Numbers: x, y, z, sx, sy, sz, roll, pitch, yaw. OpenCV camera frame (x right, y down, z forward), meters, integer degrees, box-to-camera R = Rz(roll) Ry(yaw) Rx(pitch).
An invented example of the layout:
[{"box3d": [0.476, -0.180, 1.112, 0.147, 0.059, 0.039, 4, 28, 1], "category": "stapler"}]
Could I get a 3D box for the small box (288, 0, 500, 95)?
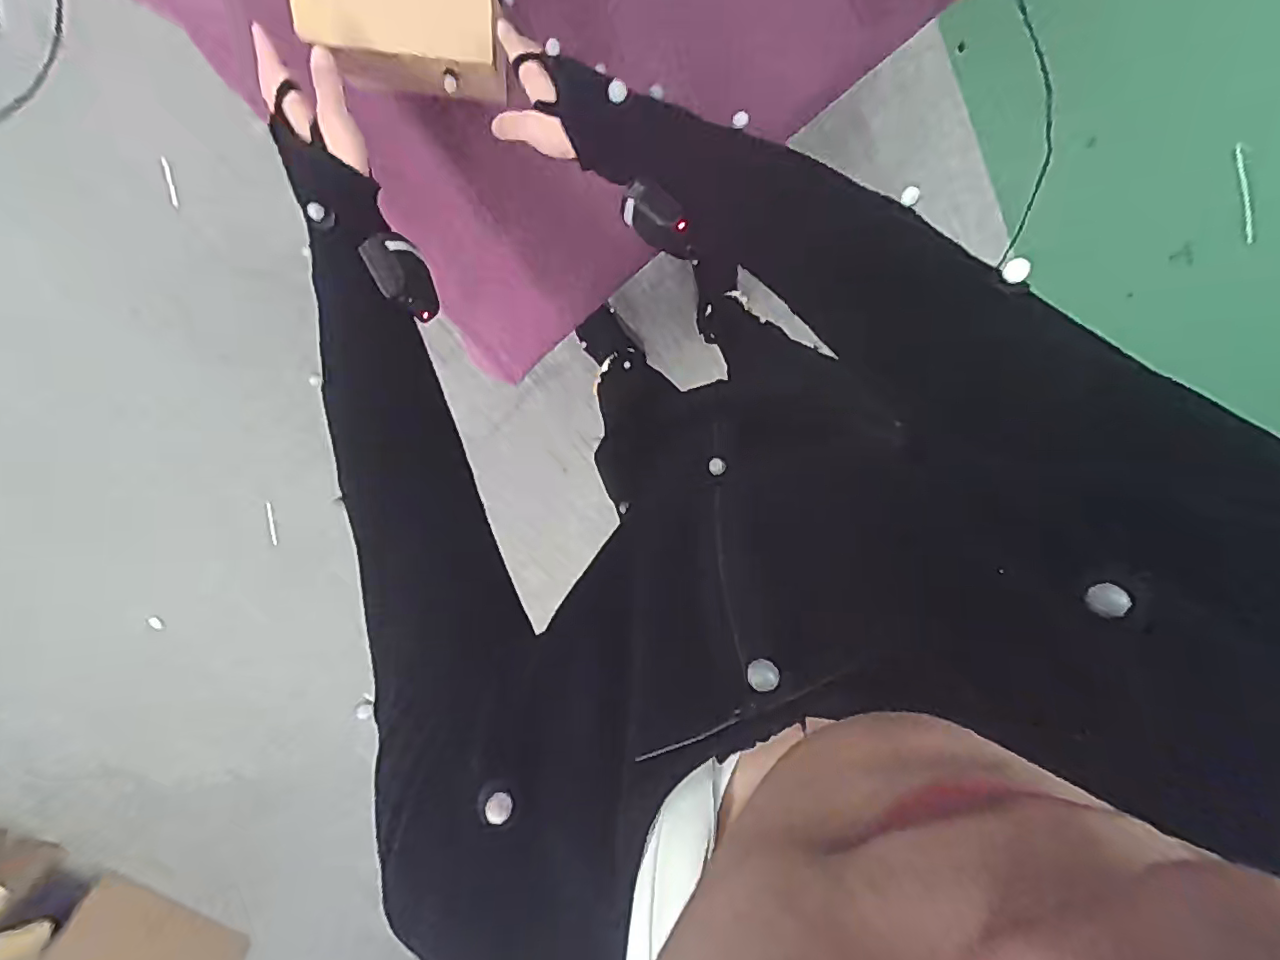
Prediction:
[{"box3d": [-0.232, -0.503, 0.535, 0.179, 0.176, 0.168, 0, 114, -10], "category": "small box"}]
